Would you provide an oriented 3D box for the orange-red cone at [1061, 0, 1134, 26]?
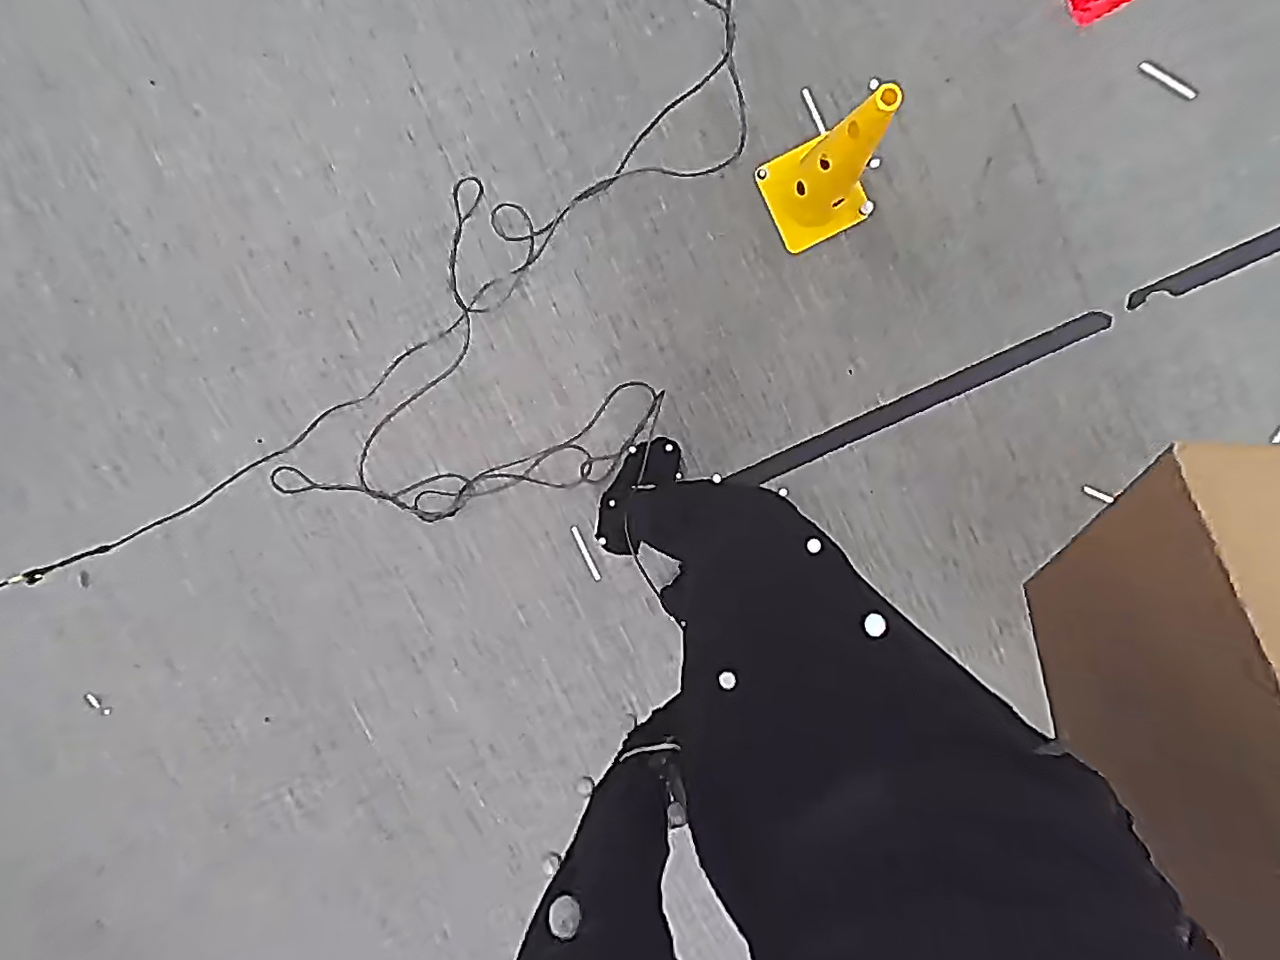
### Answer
[{"bbox_3d":[0.957,-1.058,0.959,0.199,0.360,0.198,-28,95,4],"label":"orange-red cone"}]

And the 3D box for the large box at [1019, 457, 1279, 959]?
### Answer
[{"bbox_3d":[0.606,0.233,0.474,0.320,0.320,0.408,3,57,12],"label":"large box"}]
